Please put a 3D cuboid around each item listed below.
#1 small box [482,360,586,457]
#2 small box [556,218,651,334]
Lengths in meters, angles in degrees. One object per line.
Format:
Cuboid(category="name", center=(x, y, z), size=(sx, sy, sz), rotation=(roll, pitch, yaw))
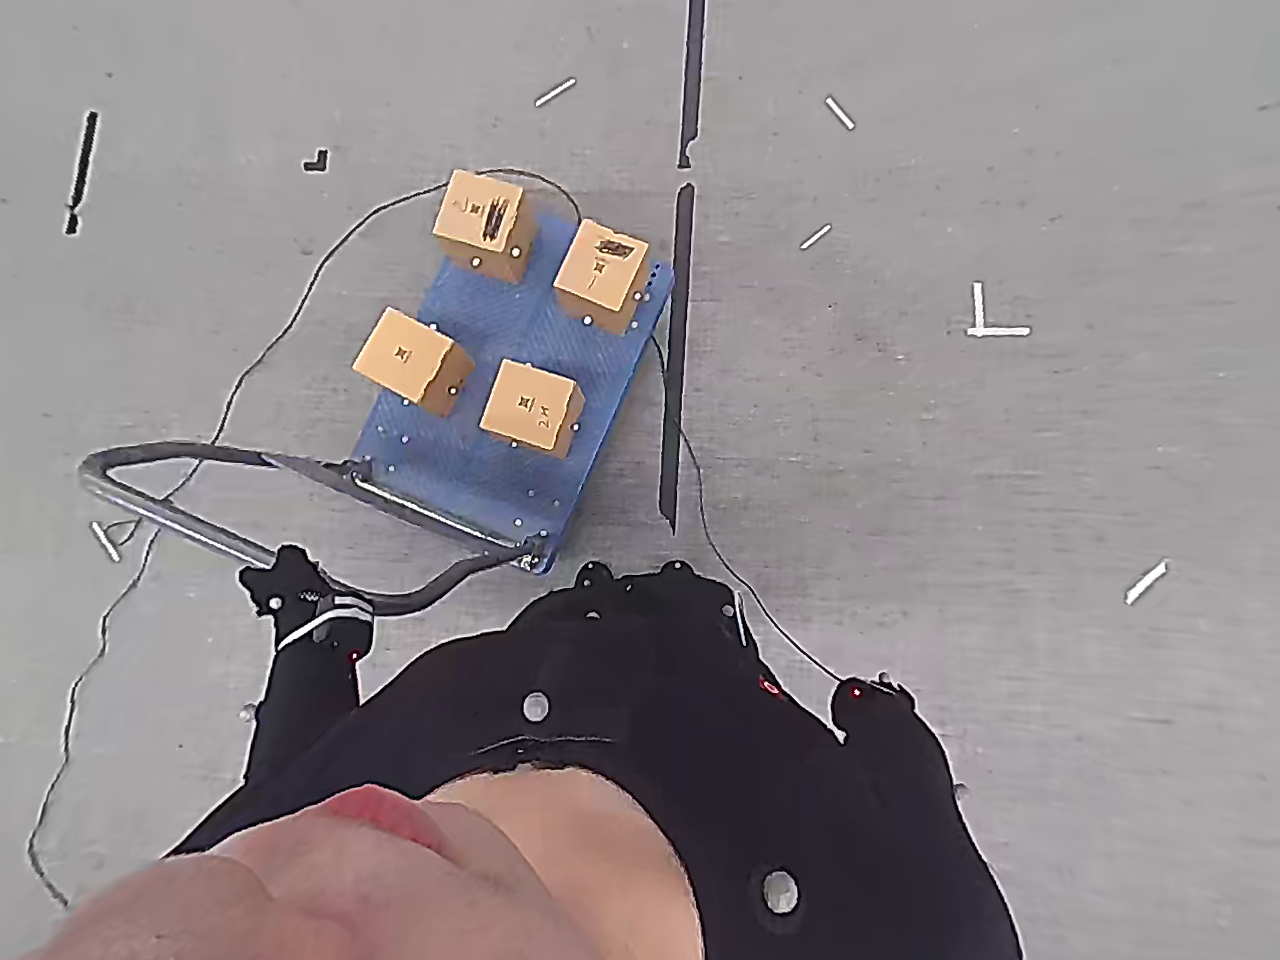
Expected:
Cuboid(category="small box", center=(-0.242, -0.161, 1.279), size=(0.179, 0.176, 0.168), rotation=(18, 86, 3))
Cuboid(category="small box", center=(-0.082, -0.482, 1.303), size=(0.168, 0.176, 0.179), rotation=(23, 87, 3))
